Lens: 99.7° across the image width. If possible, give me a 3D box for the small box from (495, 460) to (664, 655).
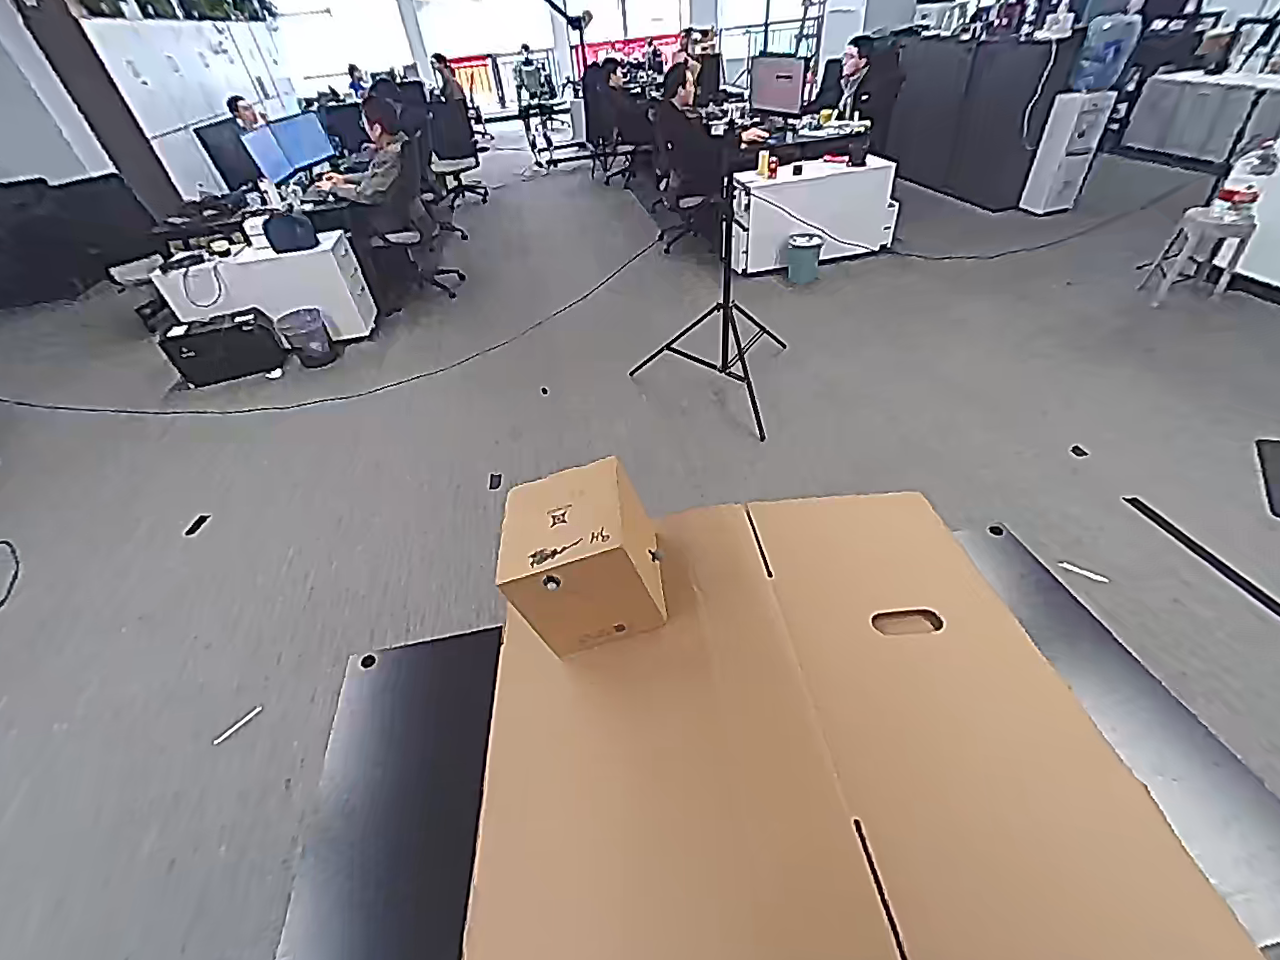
[{"bbox_3d":[-0.074,0.106,0.740,0.168,0.176,0.179,-19,38,9],"label":"small box"}]
